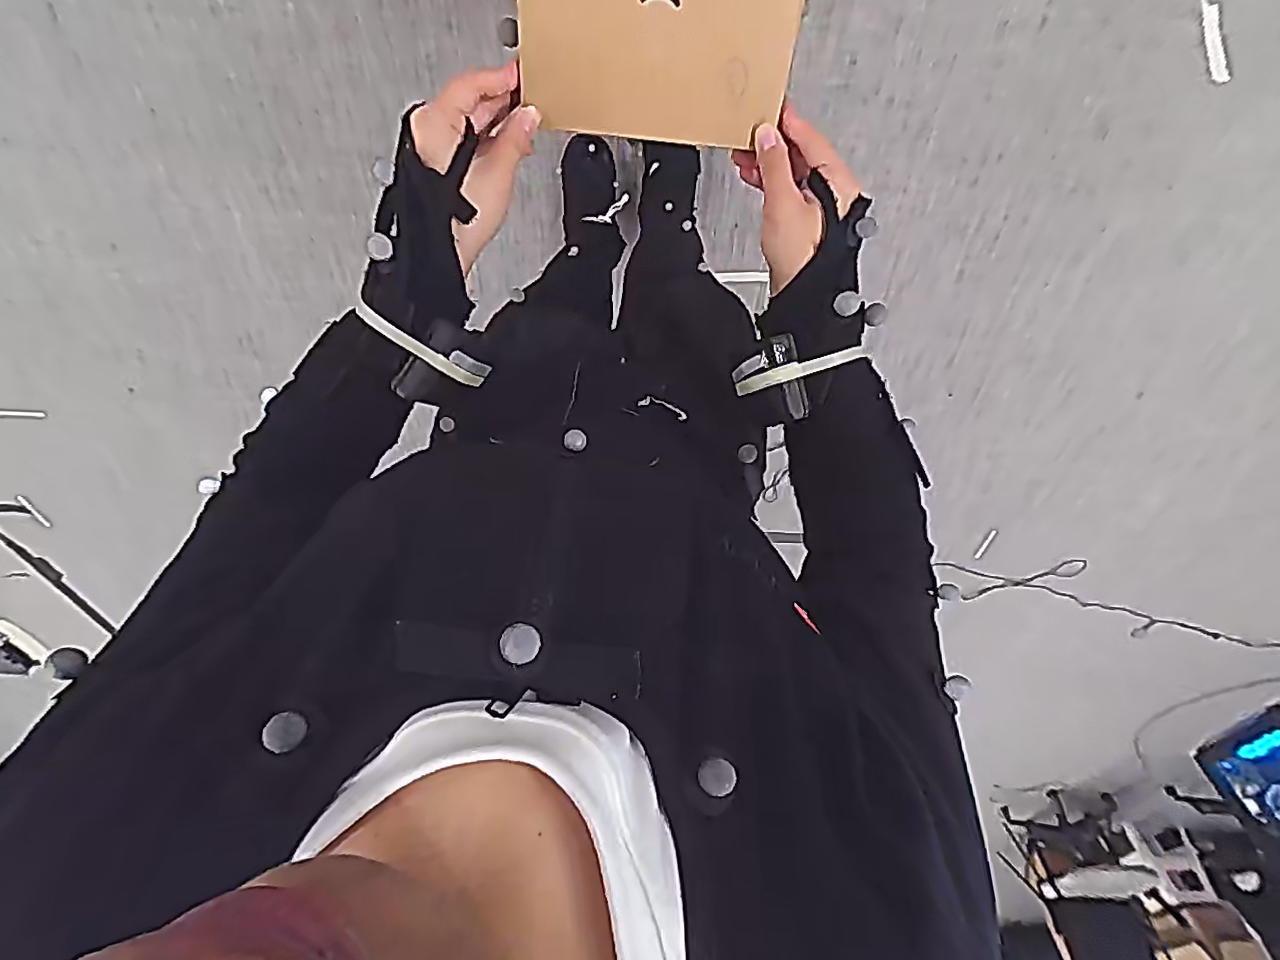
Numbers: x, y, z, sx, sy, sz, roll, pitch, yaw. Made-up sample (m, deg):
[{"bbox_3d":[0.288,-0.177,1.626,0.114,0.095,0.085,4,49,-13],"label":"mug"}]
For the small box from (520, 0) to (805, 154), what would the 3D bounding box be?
[{"bbox_3d":[0.013,-0.340,0.359,0.168,0.176,0.179,3,129,-6],"label":"small box"}]
